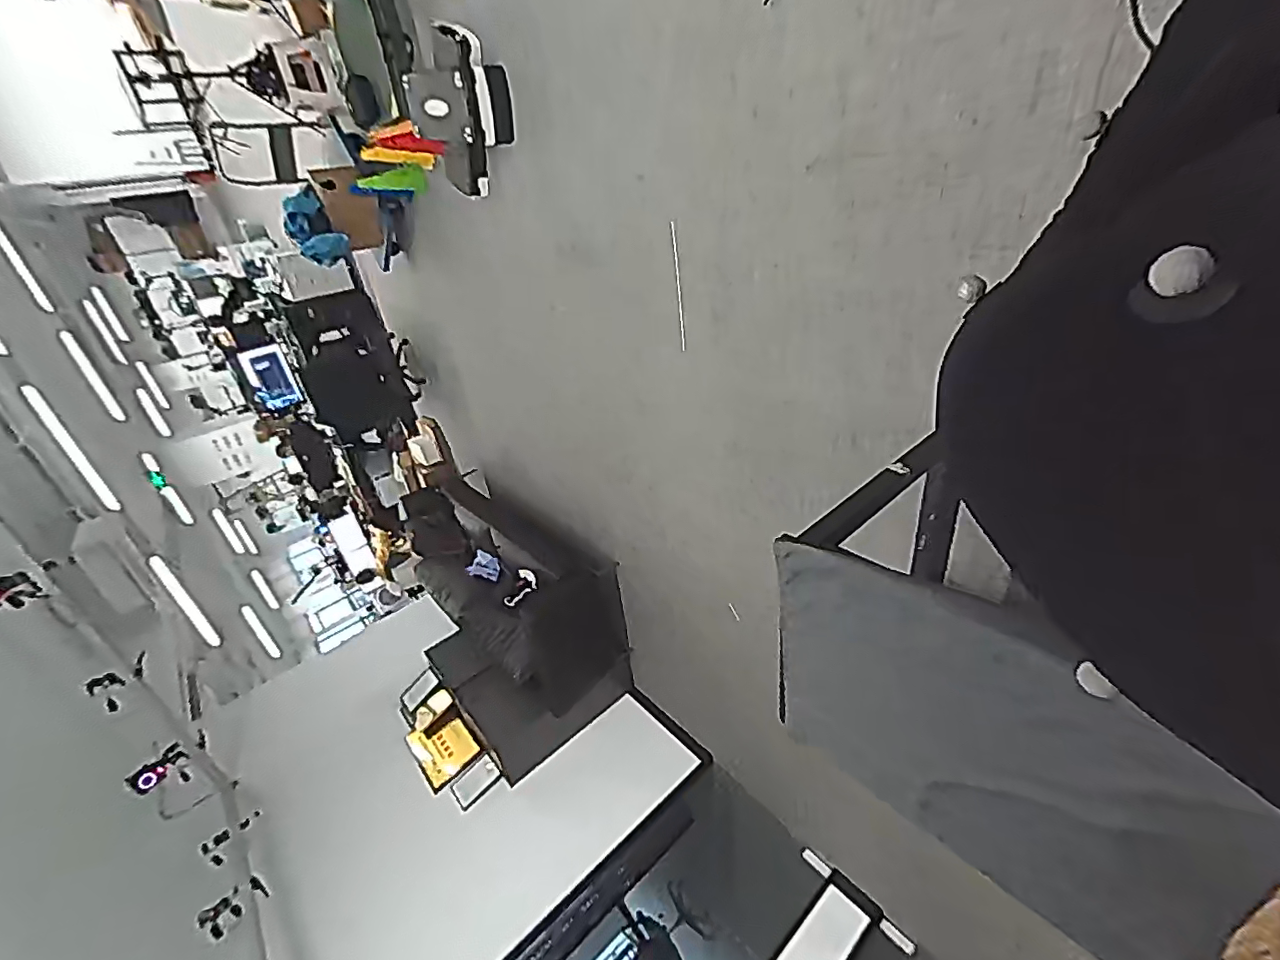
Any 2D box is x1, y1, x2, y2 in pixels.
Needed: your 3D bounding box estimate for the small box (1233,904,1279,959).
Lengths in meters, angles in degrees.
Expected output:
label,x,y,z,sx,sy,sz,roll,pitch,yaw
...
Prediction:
label,x,y,z,sx,sy,sz,roll,pitch,yaw
small box,0.810,0.645,0.617,0.168,0.176,0.179,25,133,44
